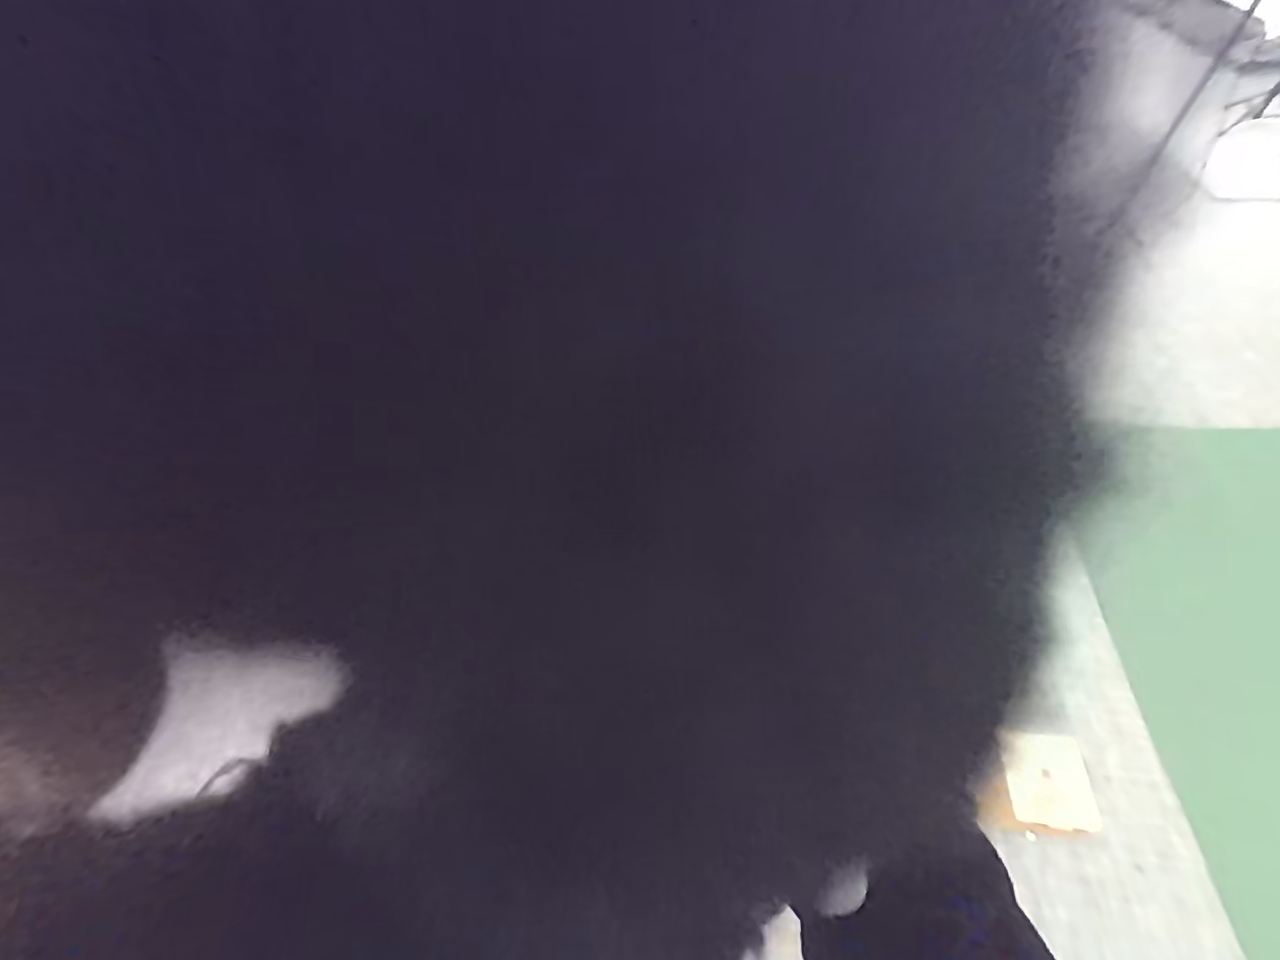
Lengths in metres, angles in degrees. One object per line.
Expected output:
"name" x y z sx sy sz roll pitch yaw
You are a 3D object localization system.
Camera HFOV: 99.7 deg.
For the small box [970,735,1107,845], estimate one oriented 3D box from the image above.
"small box" 0.857 0.682 1.187 0.168 0.176 0.179 4 53 7
